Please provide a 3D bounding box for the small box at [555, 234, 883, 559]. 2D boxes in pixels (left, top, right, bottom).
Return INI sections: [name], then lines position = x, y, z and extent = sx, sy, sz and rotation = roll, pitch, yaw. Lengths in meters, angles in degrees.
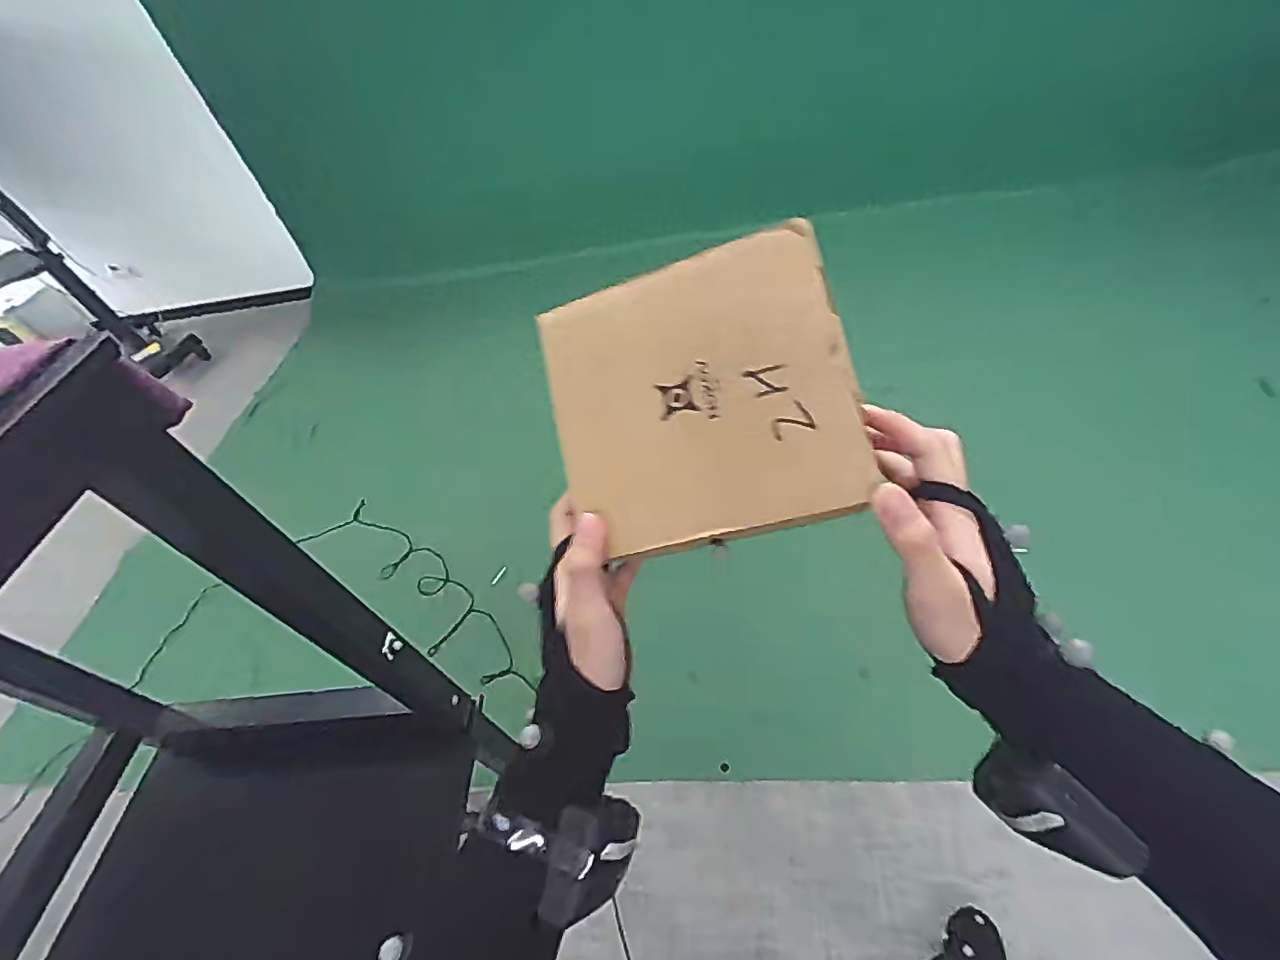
[small box]
position = 0.062, -0.036, 0.397
extent = 0.179, 0.176, 0.168
rotation = -14, 79, 17
